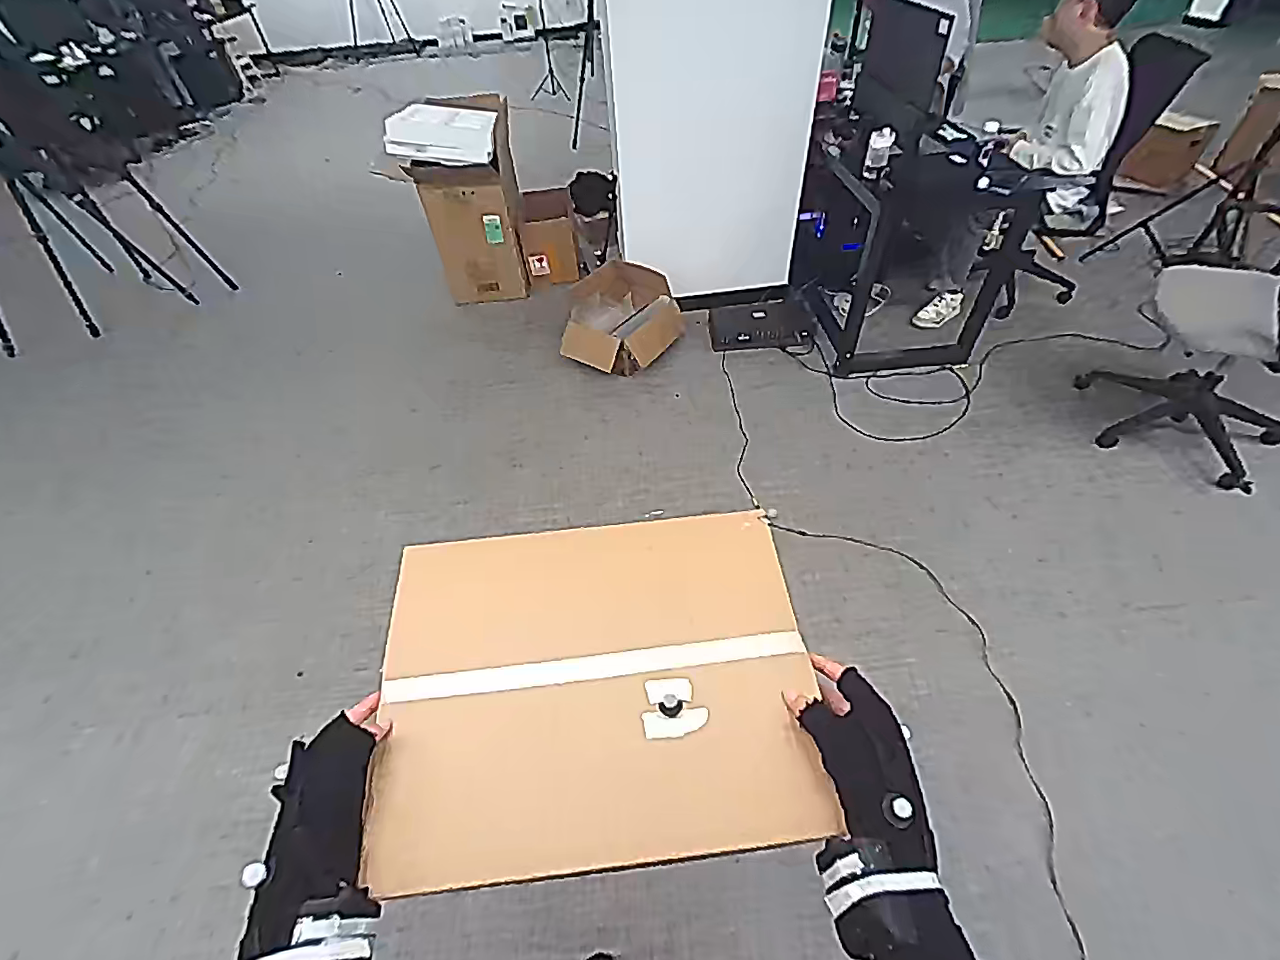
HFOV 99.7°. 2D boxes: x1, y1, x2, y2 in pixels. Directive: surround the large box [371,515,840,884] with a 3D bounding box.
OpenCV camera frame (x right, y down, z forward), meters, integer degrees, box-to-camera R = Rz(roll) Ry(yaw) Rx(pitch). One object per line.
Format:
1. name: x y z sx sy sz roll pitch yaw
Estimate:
1. large box: -0.039 0.271 0.655 0.408 0.320 0.320 -5 54 -3
